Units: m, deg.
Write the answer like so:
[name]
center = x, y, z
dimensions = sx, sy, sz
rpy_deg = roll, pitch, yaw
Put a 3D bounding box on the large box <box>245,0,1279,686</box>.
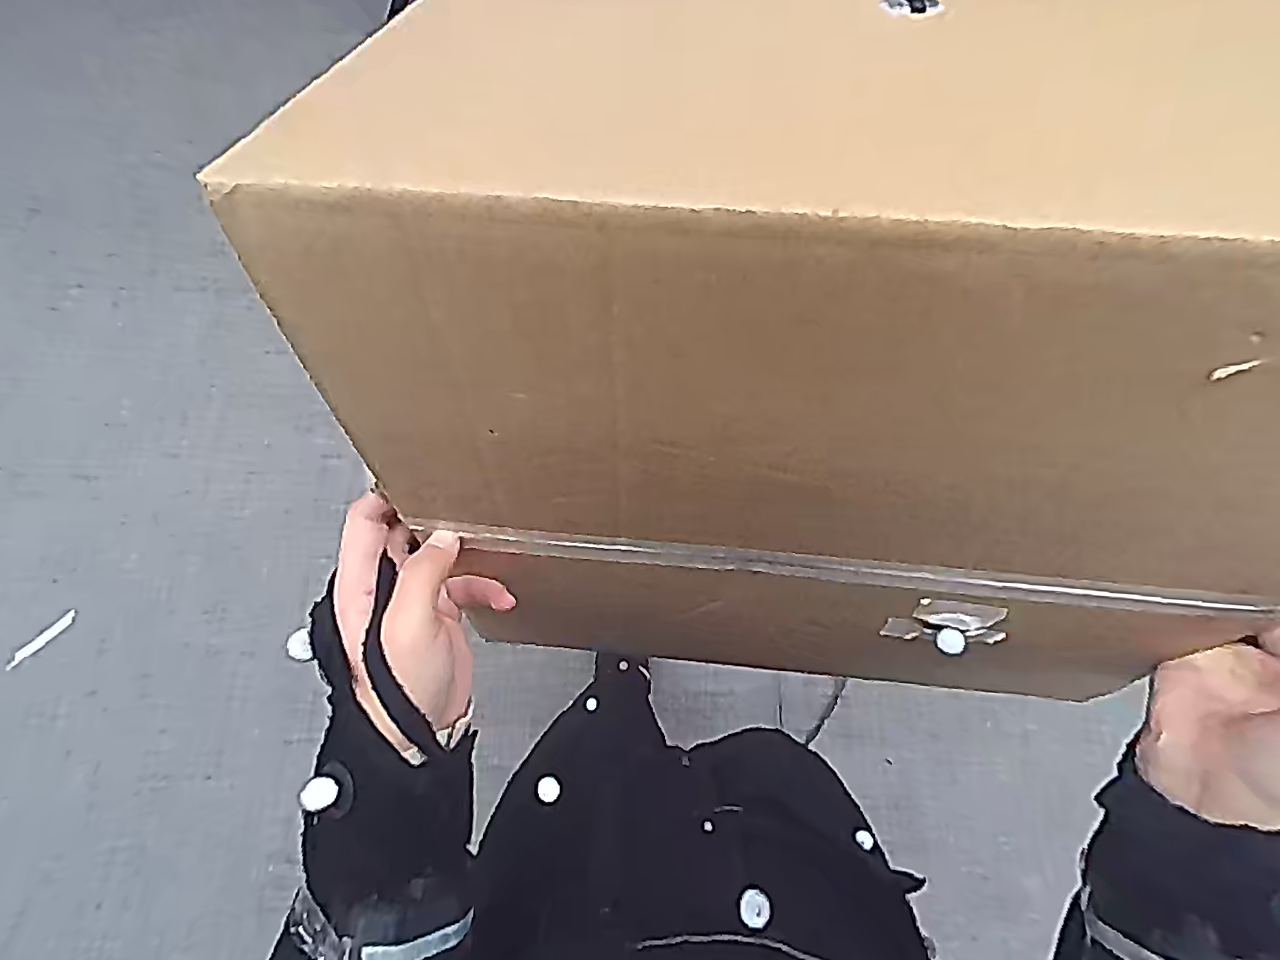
[large box]
center = 0.098, -0.085, 0.343
dimensions = 0.408, 0.320, 0.320
rpy_deg = 4, 54, 3
